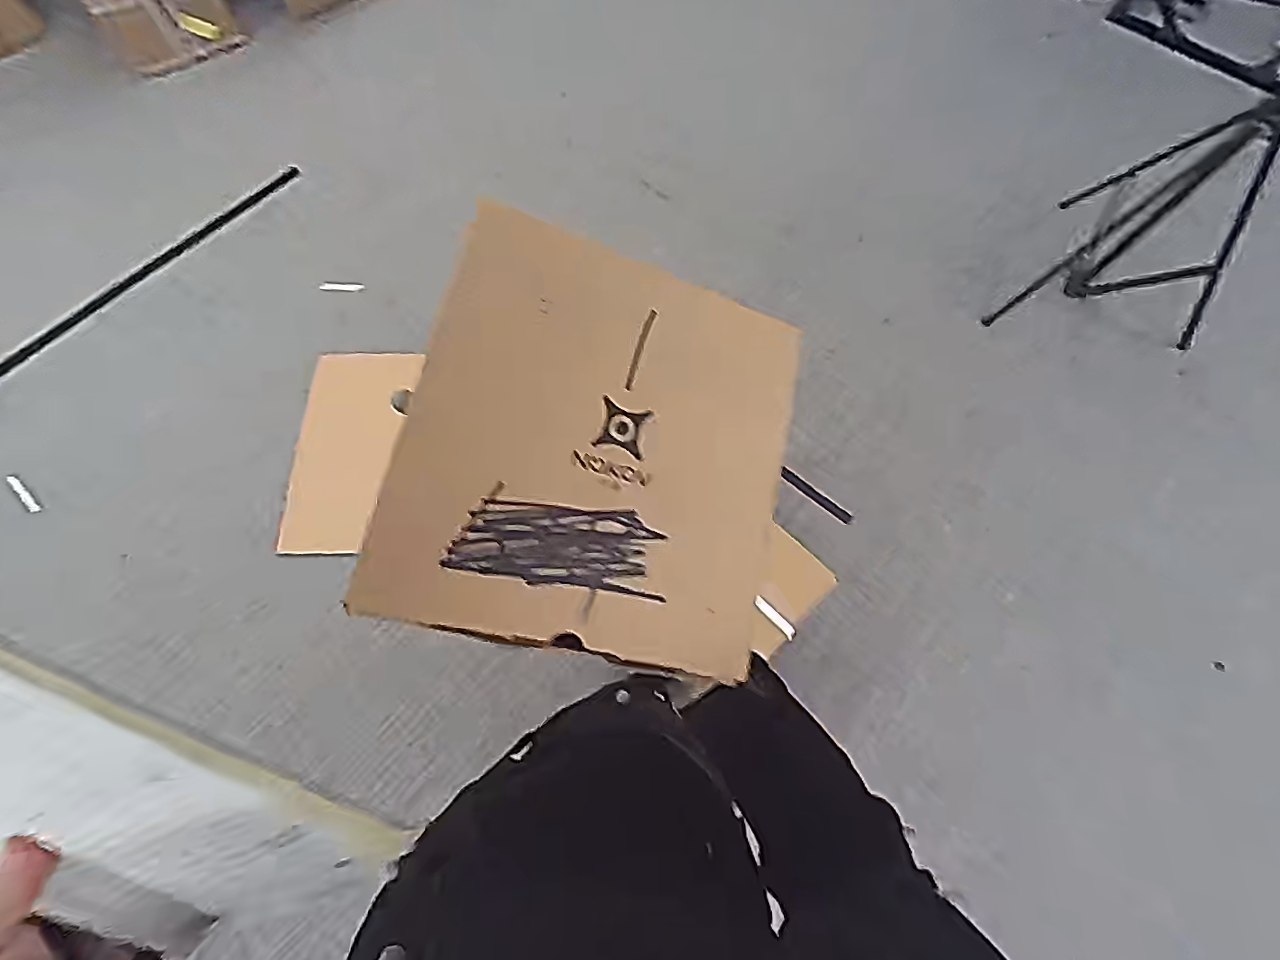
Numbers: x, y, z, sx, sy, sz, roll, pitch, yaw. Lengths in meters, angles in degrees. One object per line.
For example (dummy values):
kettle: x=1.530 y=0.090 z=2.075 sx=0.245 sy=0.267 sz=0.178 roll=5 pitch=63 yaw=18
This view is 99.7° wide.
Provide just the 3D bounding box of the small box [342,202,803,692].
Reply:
small box: x=-0.039 y=-0.002 z=0.305 sx=0.168 sy=0.176 sz=0.179 roll=17 pitch=78 yaw=-18
